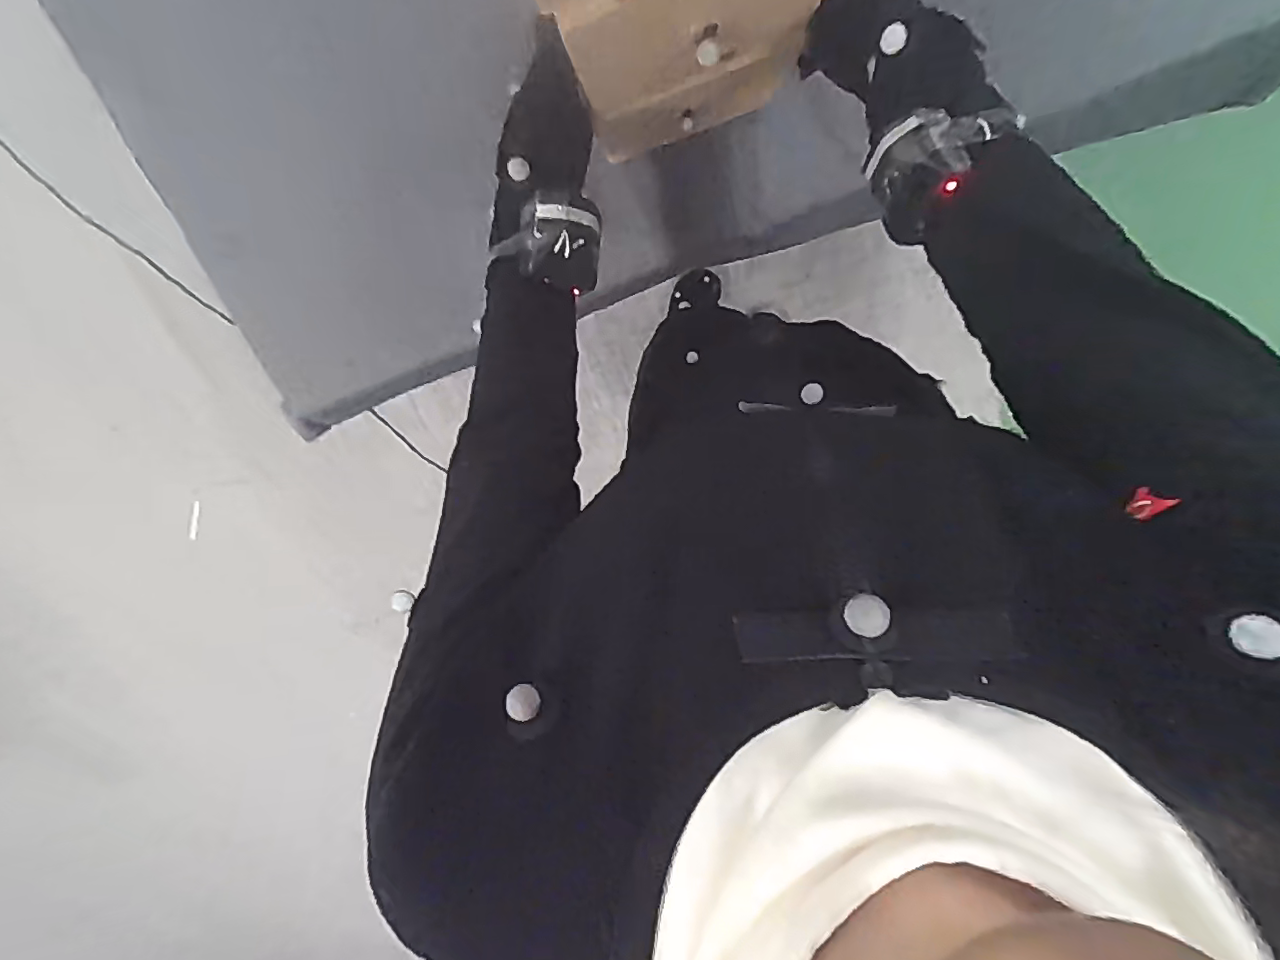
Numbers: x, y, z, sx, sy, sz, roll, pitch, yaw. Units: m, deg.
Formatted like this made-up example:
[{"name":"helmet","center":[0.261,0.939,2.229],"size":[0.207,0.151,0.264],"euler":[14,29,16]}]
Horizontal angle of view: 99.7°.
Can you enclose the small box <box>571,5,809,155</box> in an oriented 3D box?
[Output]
[{"name":"small box","center":[0.023,-0.406,0.459],"size":[0.179,0.176,0.168],"euler":[-16,109,9]}]

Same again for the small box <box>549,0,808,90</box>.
[{"name":"small box","center":[0.013,-0.355,0.304],"size":[0.168,0.176,0.179],"euler":[-17,110,9]}]
